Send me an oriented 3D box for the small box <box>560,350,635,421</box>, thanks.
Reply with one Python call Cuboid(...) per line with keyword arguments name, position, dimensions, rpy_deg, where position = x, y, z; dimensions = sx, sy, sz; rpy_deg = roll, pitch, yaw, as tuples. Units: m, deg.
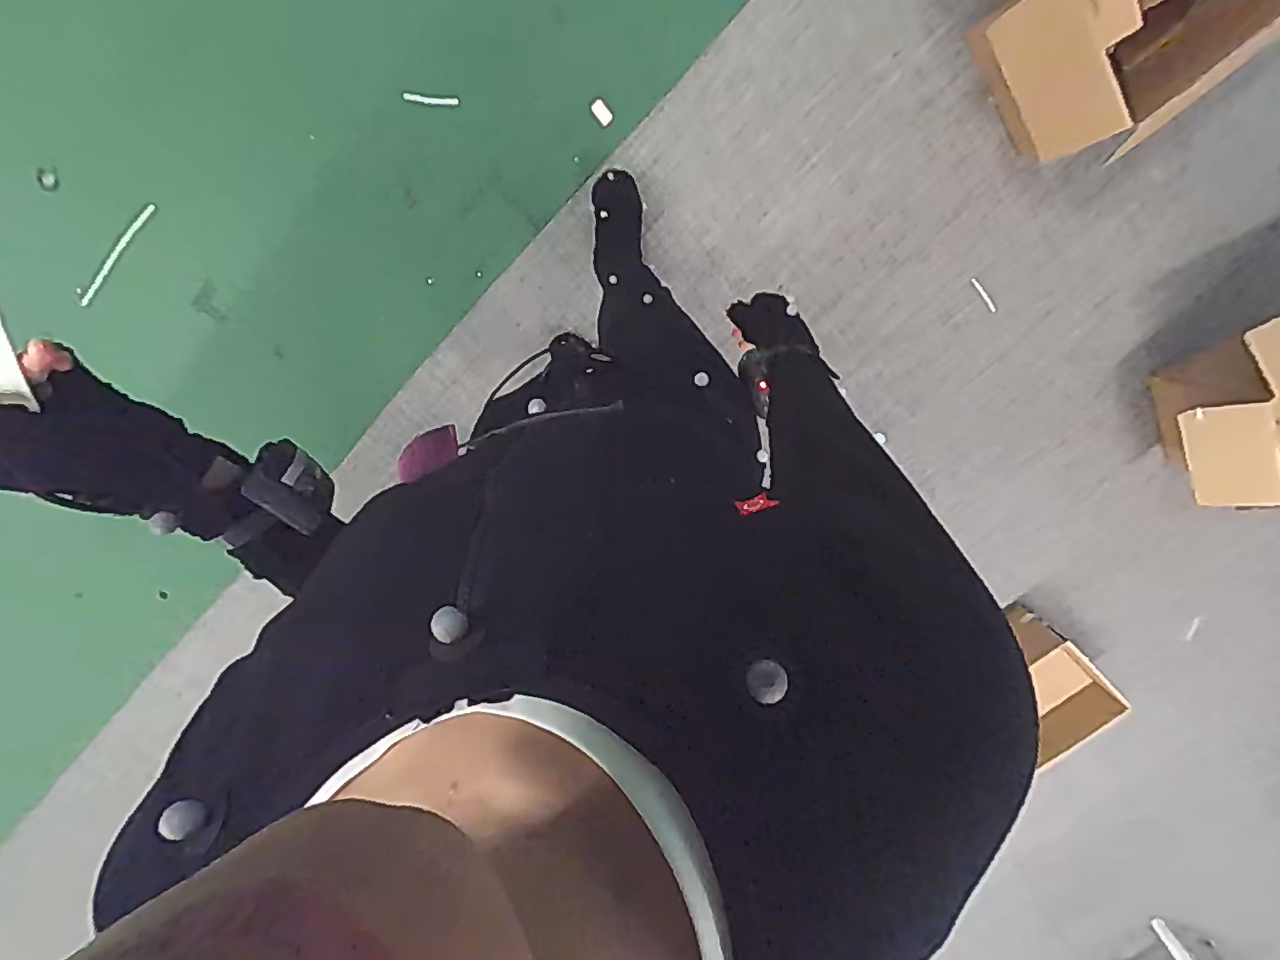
Cuboid(name="small box", position=(-0.102, -0.242, 1.362), dimensions=(0.179, 0.176, 0.168), rpy_deg=(2, 105, 2))
